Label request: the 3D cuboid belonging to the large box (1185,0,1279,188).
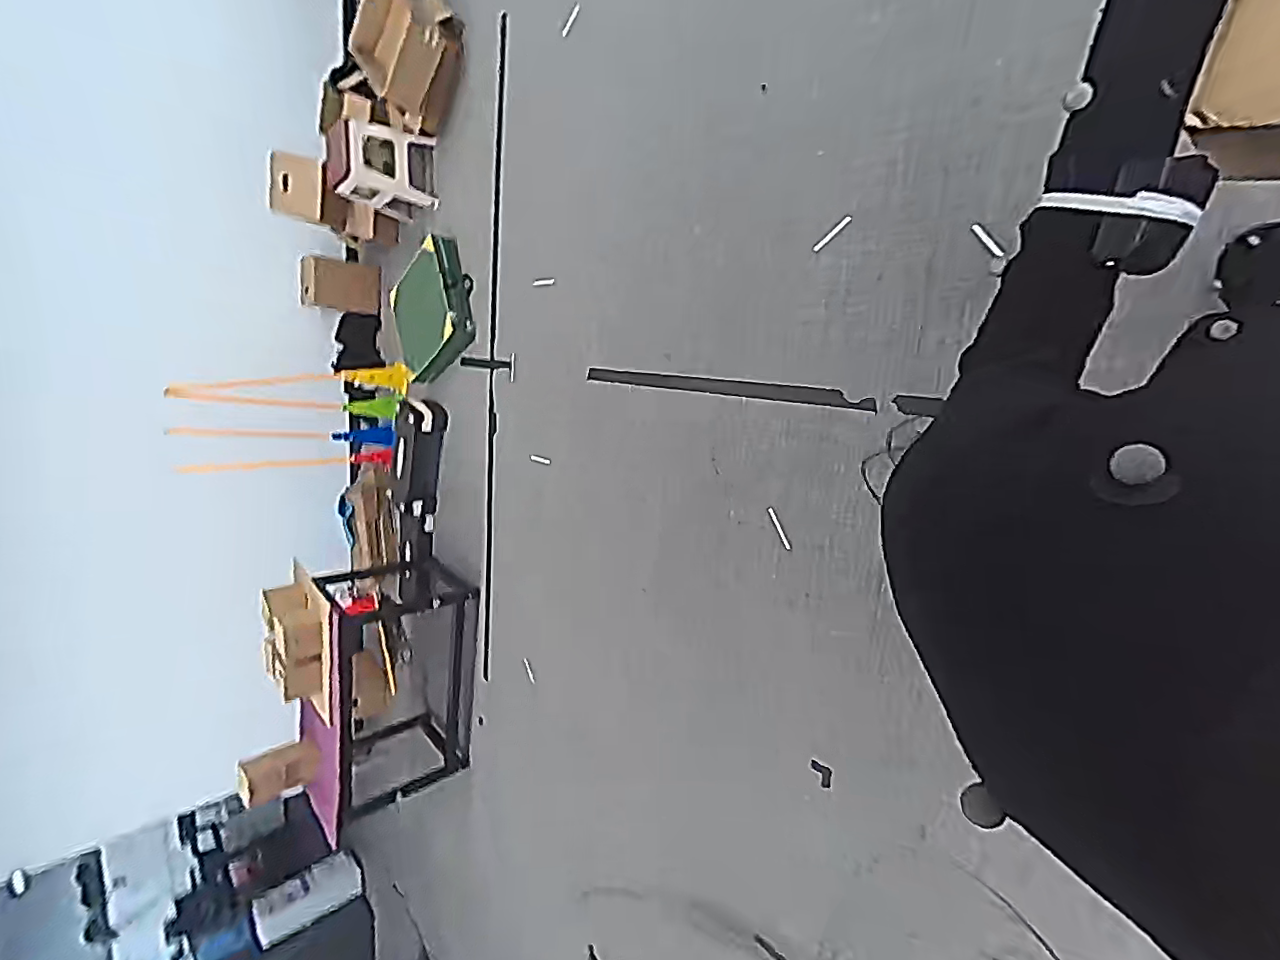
[{"bbox_3d":[0.599,-0.336,0.259,0.408,0.320,0.320,26,123,40],"label":"large box"}]
